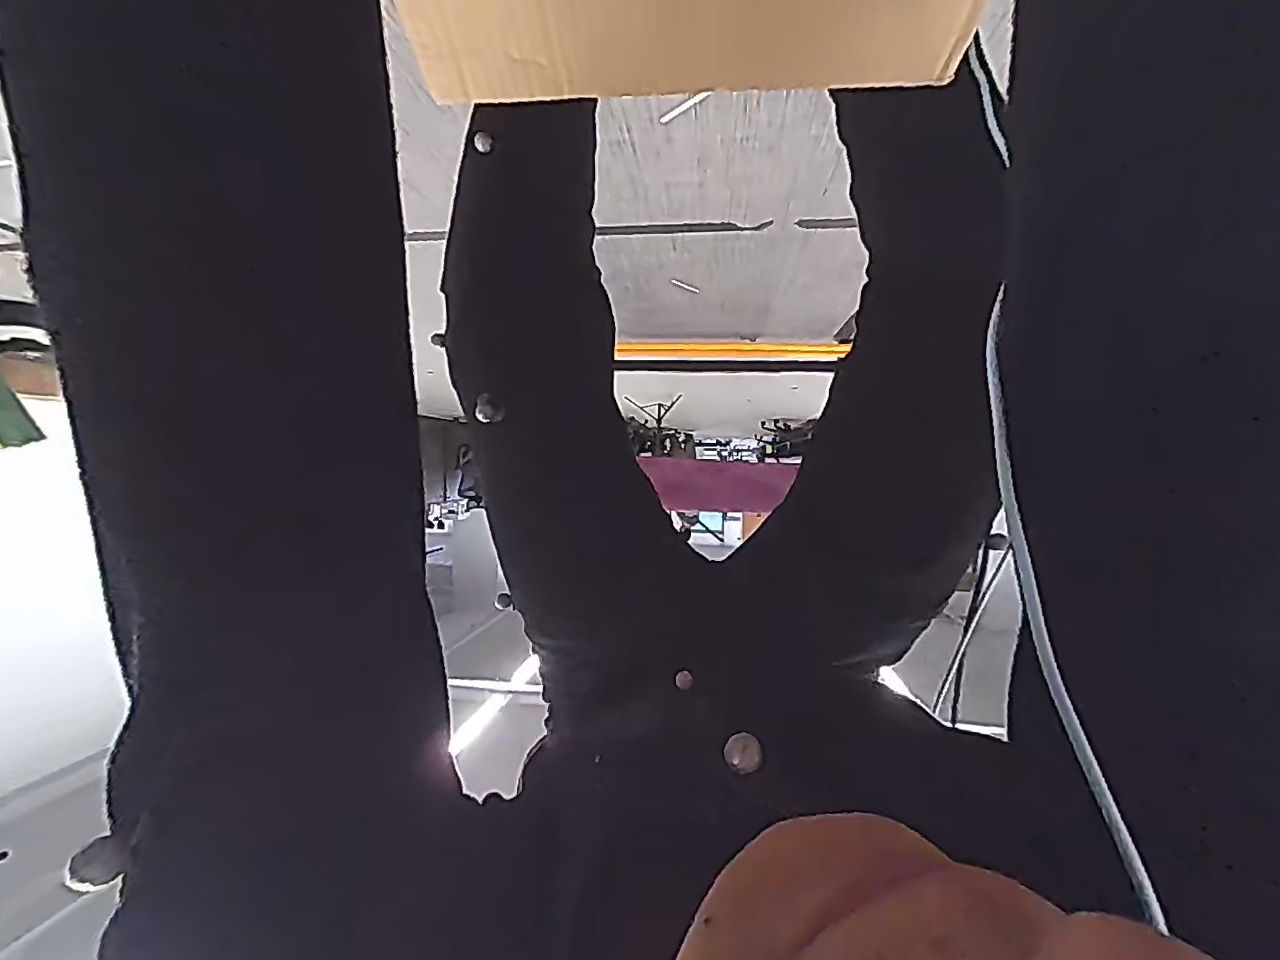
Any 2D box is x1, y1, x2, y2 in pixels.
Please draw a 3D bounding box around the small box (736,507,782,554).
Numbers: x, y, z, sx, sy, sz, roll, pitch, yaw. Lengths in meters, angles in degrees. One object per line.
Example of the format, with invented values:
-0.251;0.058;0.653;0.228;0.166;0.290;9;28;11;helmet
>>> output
0.465;0.194;2.128;0.168;0.176;0.179;2;-178;8;small box
